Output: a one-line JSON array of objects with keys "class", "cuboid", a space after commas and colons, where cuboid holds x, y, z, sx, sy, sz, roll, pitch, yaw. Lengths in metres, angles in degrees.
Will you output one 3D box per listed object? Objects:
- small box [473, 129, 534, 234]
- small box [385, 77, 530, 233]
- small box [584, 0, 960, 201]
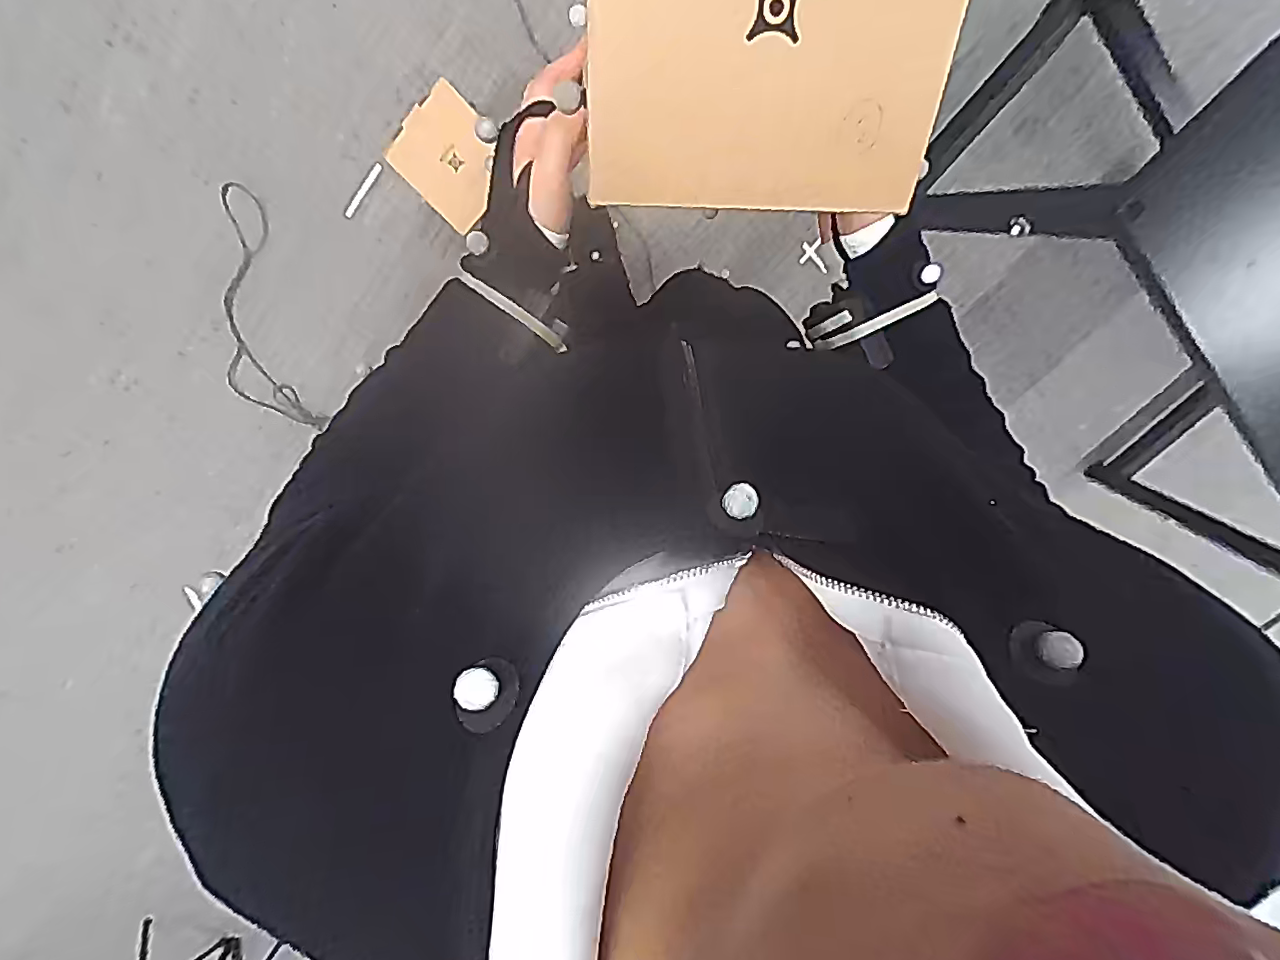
[{"class": "small box", "cuboid": [-0.339, -0.649, 1.142, 0.168, 0.176, 0.179, 37, 107, -21]}, {"class": "small box", "cuboid": [-0.323, -0.582, 0.993, 0.168, 0.176, 0.179, -42, 114, 15]}, {"class": "small box", "cuboid": [0.054, -0.261, 0.293, 0.168, 0.176, 0.179, -1, 124, -4]}]
